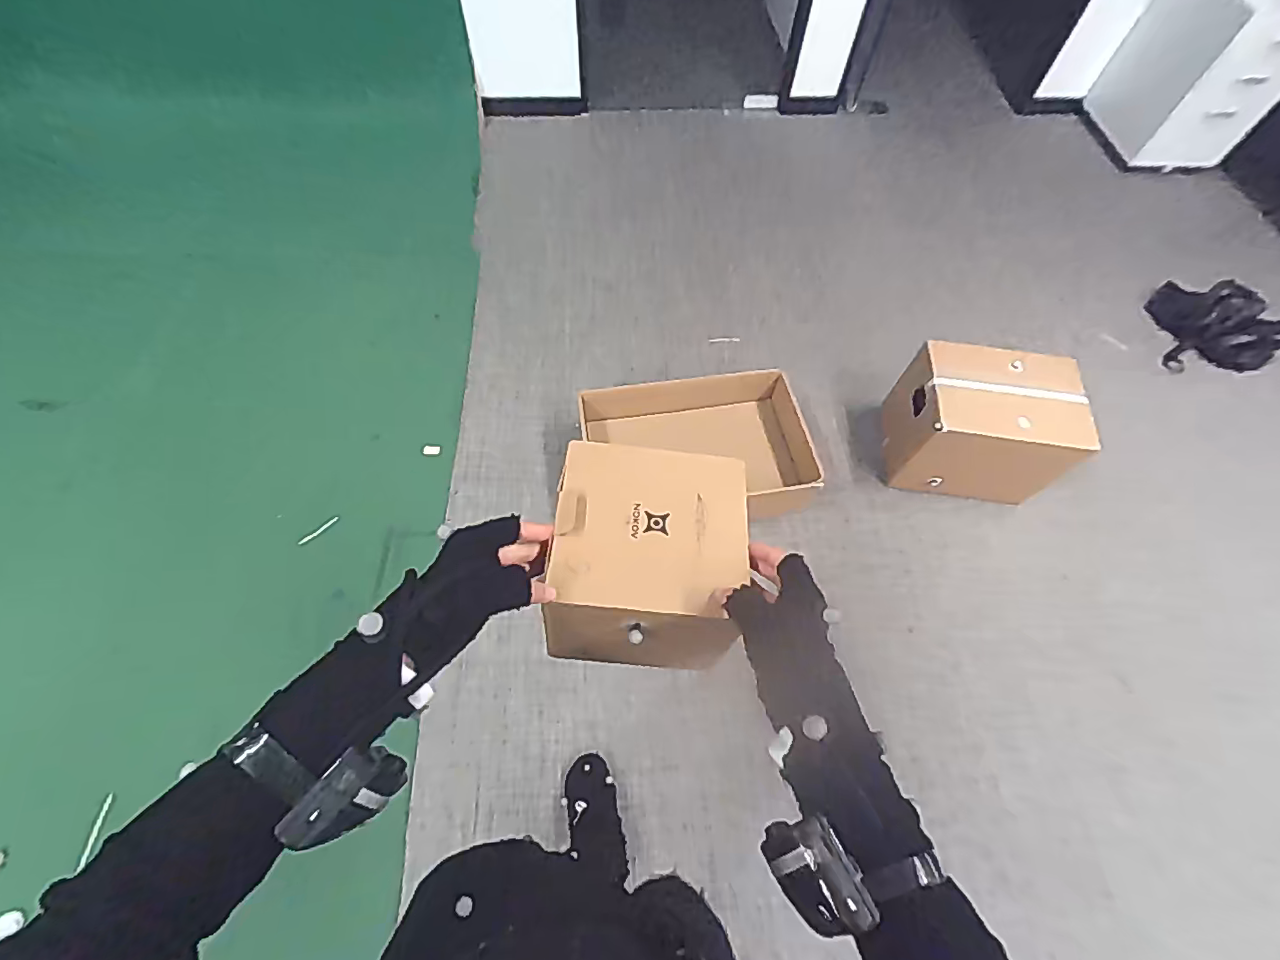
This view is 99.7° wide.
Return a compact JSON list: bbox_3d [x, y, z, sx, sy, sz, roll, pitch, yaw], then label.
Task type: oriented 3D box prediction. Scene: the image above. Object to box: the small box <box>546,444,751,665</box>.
[{"bbox_3d":[0.004,0.084,0.559,0.179,0.176,0.168,6,57,-4],"label":"small box"}]
